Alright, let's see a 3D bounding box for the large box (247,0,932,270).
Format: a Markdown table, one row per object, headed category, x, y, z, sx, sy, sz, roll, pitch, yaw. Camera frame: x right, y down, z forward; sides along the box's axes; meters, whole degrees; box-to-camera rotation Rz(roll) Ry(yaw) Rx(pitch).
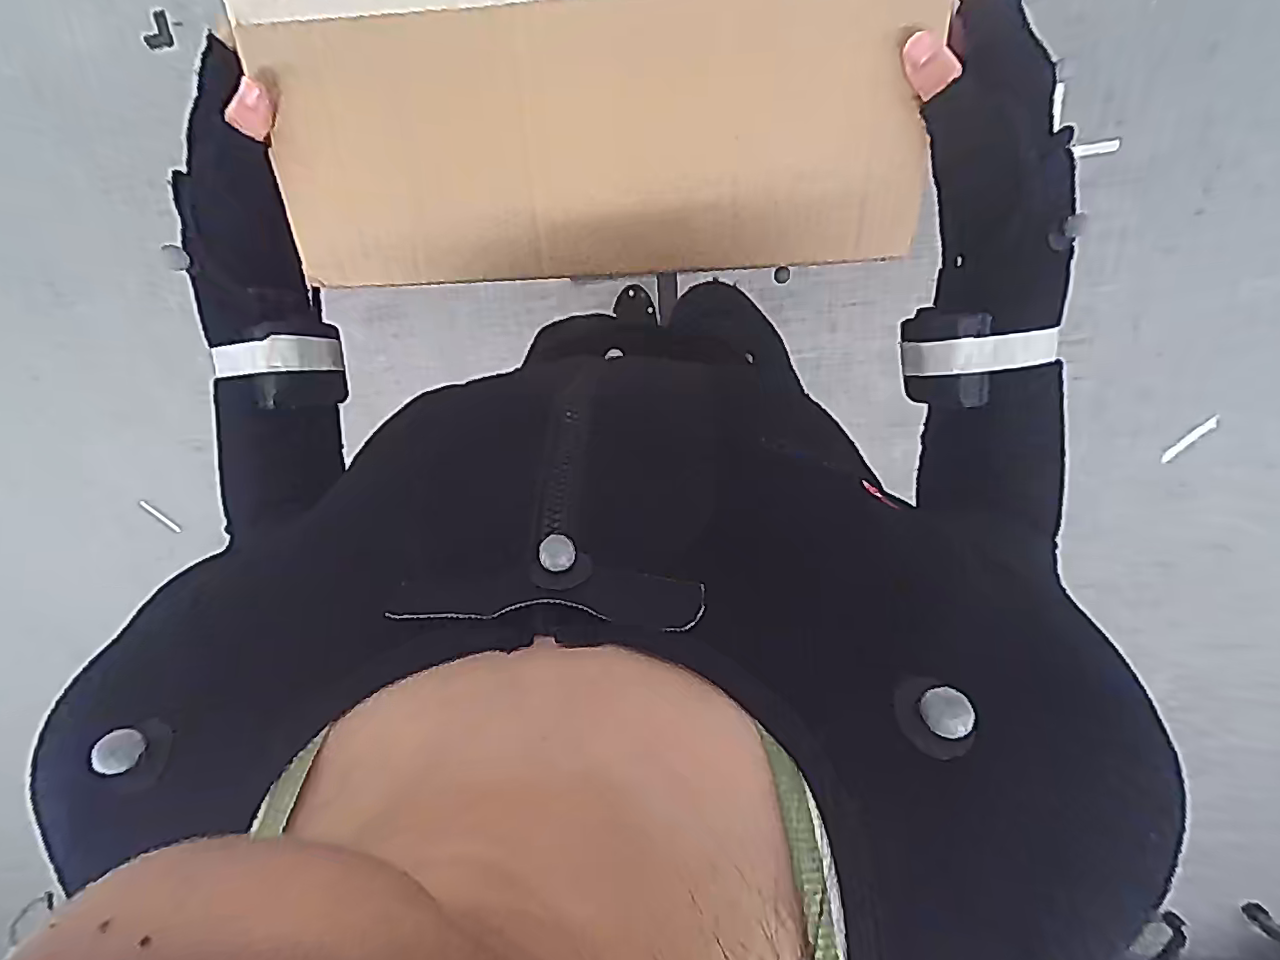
| category | x | y | z | sx | sy | sz | roll | pitch | yaw |
| --- | --- | --- | --- | --- | --- | --- | --- | --- | --- |
| large box | -0.025 | -0.360 | 0.436 | 0.408 | 0.320 | 0.320 | -1 | 116 | 4 |
